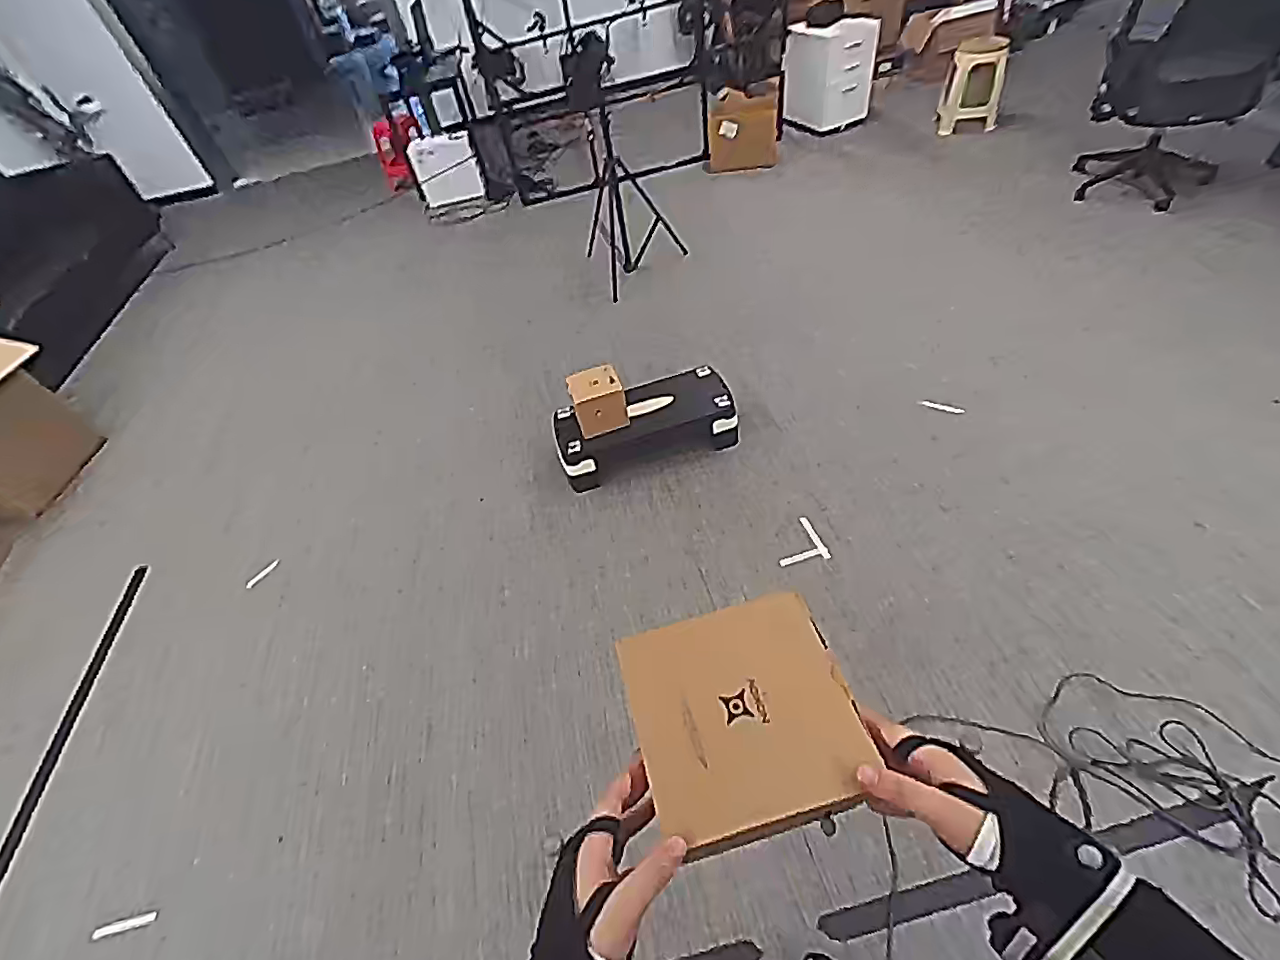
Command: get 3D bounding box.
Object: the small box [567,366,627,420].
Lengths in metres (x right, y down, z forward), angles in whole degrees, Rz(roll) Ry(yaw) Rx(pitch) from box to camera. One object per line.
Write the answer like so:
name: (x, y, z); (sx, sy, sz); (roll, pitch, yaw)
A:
small box: (-0.152, -0.278, 1.945); (0.179, 0.176, 0.168); (-19, 48, -6)

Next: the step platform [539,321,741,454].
step platform: (0.003, -0.325, 1.907); (0.684, 0.204, 0.286); (-17, 47, -4)

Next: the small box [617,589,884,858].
small box: (0.090, 0.232, 0.508); (0.179, 0.176, 0.168); (-17, 51, -4)
